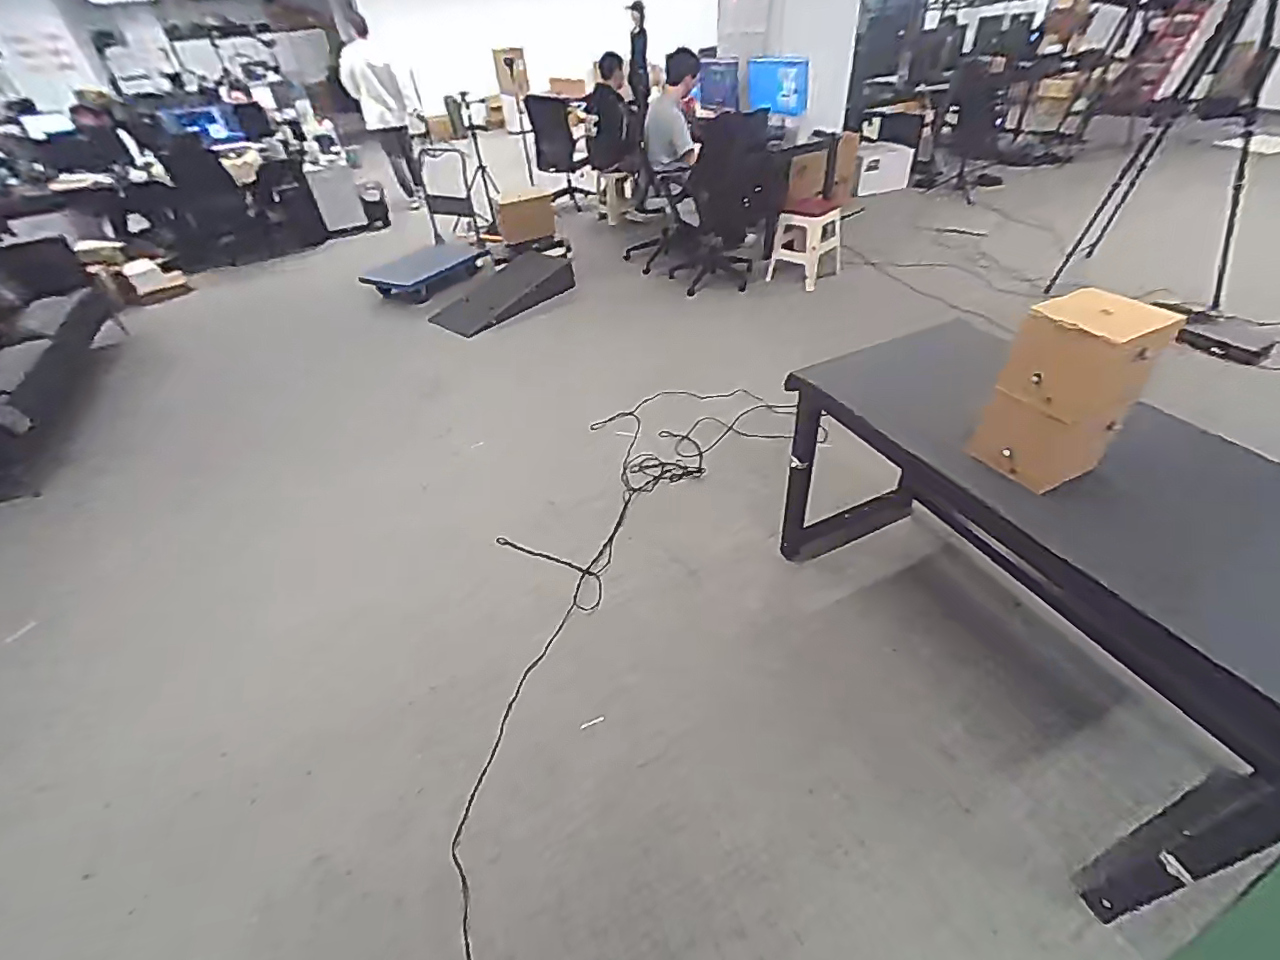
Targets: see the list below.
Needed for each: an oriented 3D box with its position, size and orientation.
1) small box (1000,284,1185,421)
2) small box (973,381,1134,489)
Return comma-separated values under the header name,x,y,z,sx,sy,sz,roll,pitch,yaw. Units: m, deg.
name,x,y,z,sx,sy,sz,roll,pitch,yaw
small box,0.809,-0.233,0.989,0.179,0.176,0.168,-20,43,-16
small box,0.821,-0.111,1.095,0.179,0.176,0.168,-20,42,-17
